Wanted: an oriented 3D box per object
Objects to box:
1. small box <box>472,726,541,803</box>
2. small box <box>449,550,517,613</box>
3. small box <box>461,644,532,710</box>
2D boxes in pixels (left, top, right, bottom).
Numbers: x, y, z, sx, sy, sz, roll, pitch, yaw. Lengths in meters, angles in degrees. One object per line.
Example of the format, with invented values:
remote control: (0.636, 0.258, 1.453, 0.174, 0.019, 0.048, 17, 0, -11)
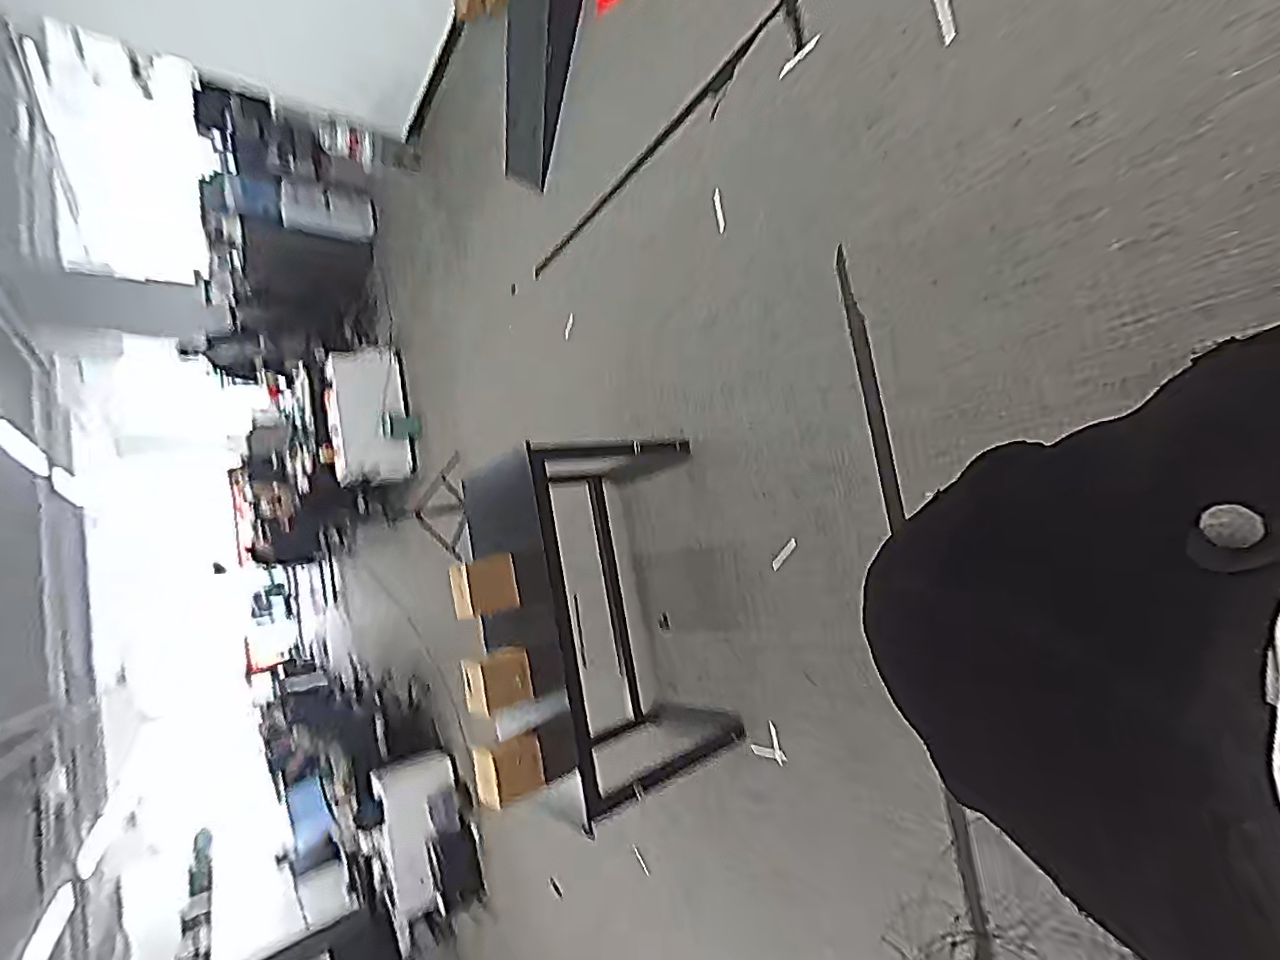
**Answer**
small box: (-0.443, 0.945, 1.813, 0.179, 0.176, 0.168, -20, 77, 51)
small box: (-0.538, 0.349, 1.865, 0.168, 0.176, 0.179, -24, 76, 50)
small box: (-0.488, 0.662, 1.836, 0.179, 0.176, 0.168, -18, 80, 50)
